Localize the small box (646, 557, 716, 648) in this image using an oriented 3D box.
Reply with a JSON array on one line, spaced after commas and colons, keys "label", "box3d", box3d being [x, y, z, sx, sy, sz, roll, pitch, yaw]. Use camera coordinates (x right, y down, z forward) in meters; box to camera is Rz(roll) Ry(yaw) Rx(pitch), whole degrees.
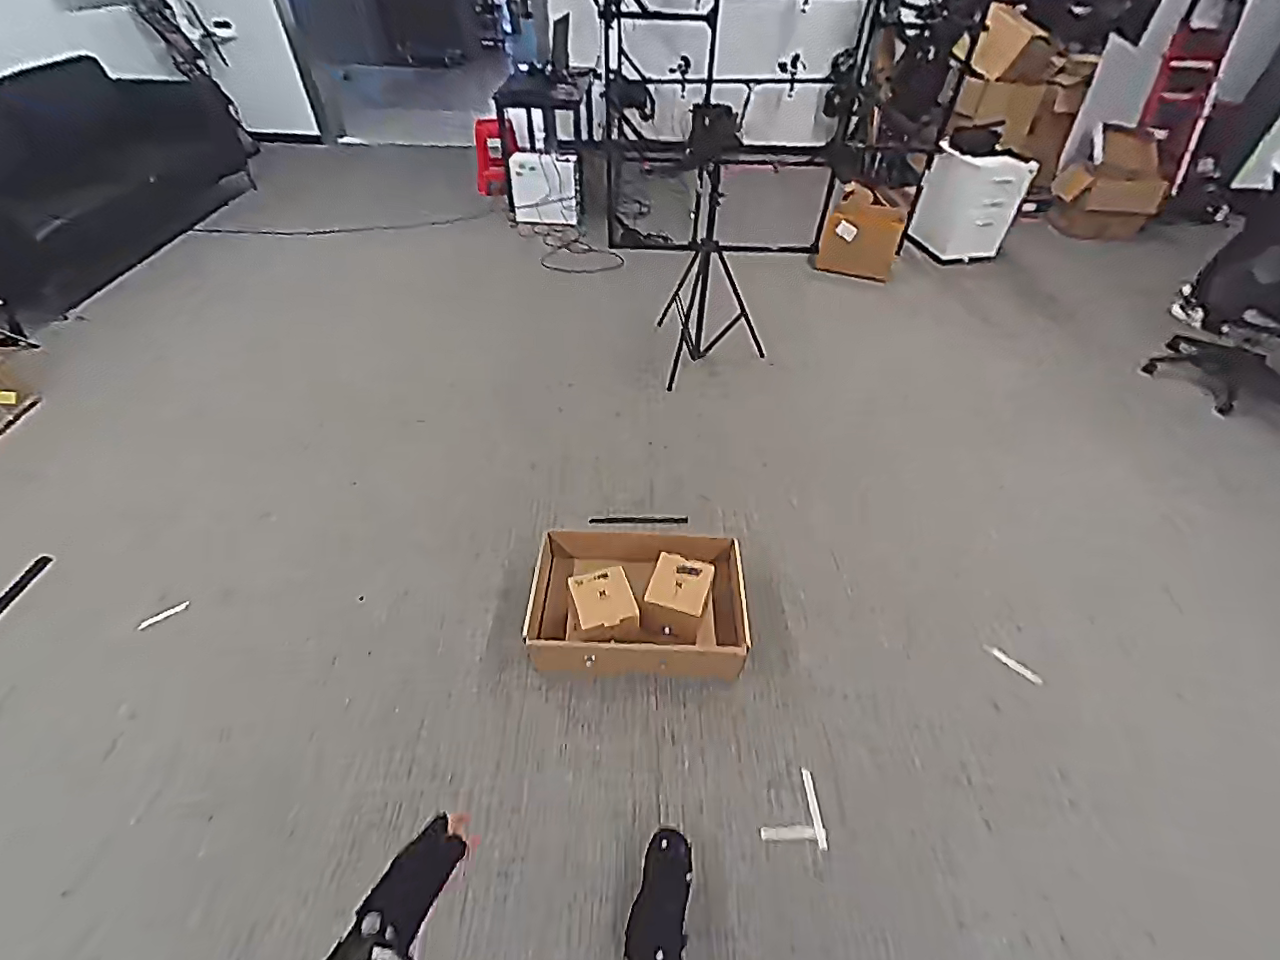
[{"label": "small box", "box3d": [0.117, 0.363, 1.600, 0.168, 0.176, 0.179, 13, 47, 14]}]
